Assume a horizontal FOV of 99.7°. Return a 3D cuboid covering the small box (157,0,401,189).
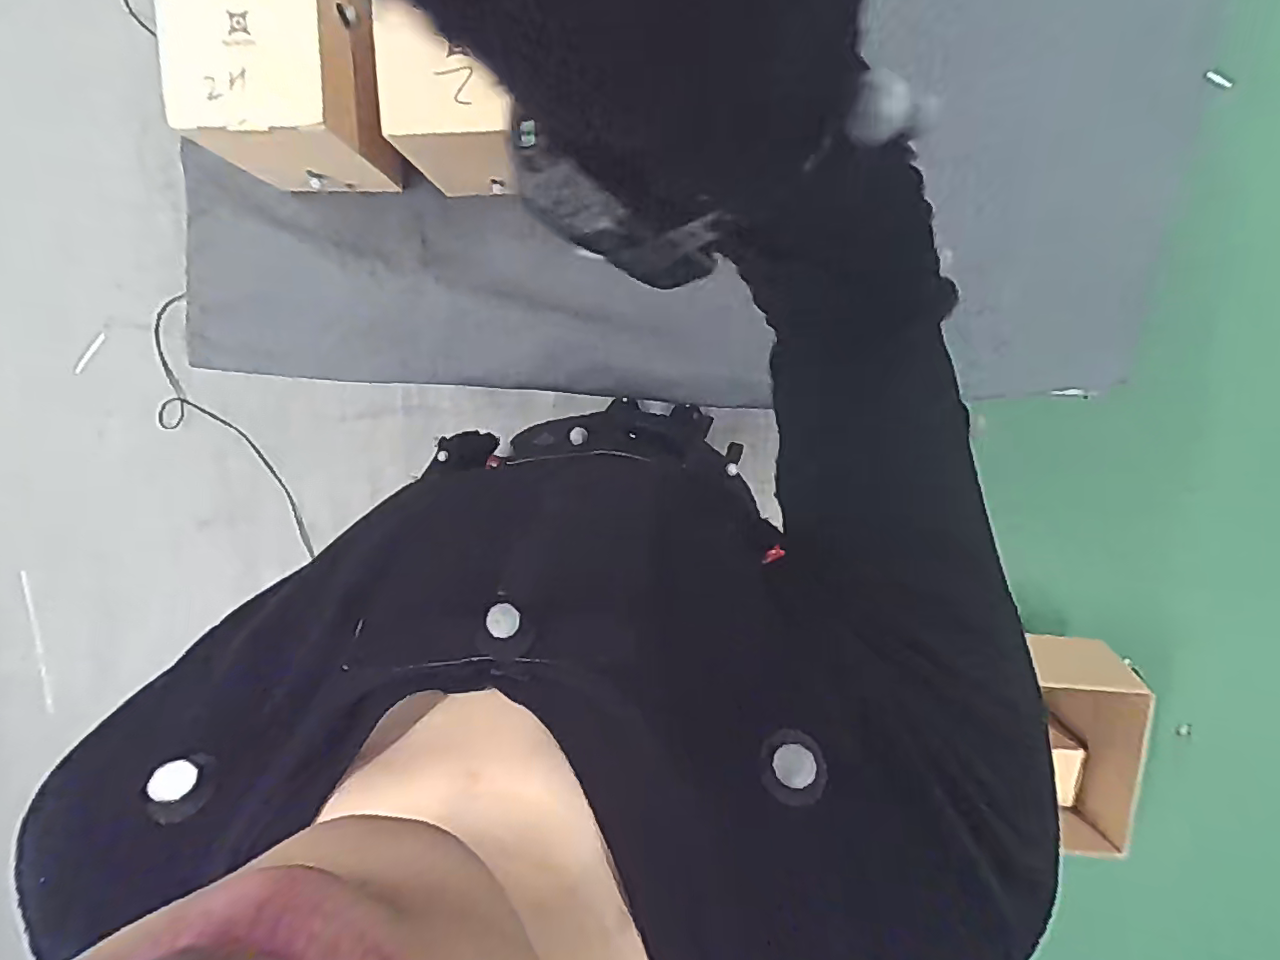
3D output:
[{"bbox_3d":[-0.387,-0.455,0.608,0.168,0.176,0.179,2,98,2],"label":"small box"}]
